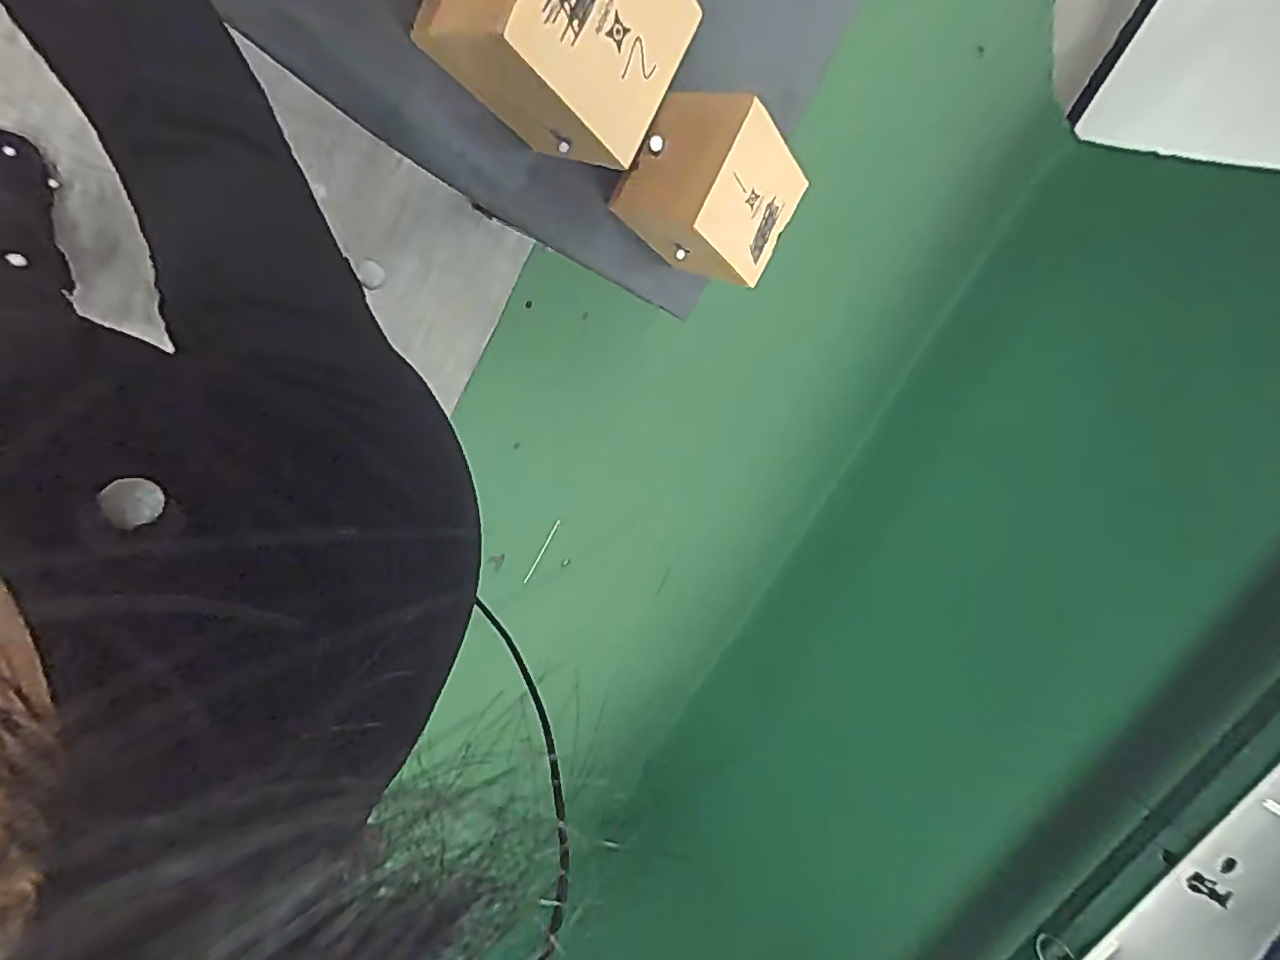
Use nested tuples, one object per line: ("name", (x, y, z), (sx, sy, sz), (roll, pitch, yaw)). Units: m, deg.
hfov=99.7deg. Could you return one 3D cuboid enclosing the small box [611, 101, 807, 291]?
("small box", (0.095, -0.396, 0.755), (0.179, 0.176, 0.168), (18, 103, -52))
